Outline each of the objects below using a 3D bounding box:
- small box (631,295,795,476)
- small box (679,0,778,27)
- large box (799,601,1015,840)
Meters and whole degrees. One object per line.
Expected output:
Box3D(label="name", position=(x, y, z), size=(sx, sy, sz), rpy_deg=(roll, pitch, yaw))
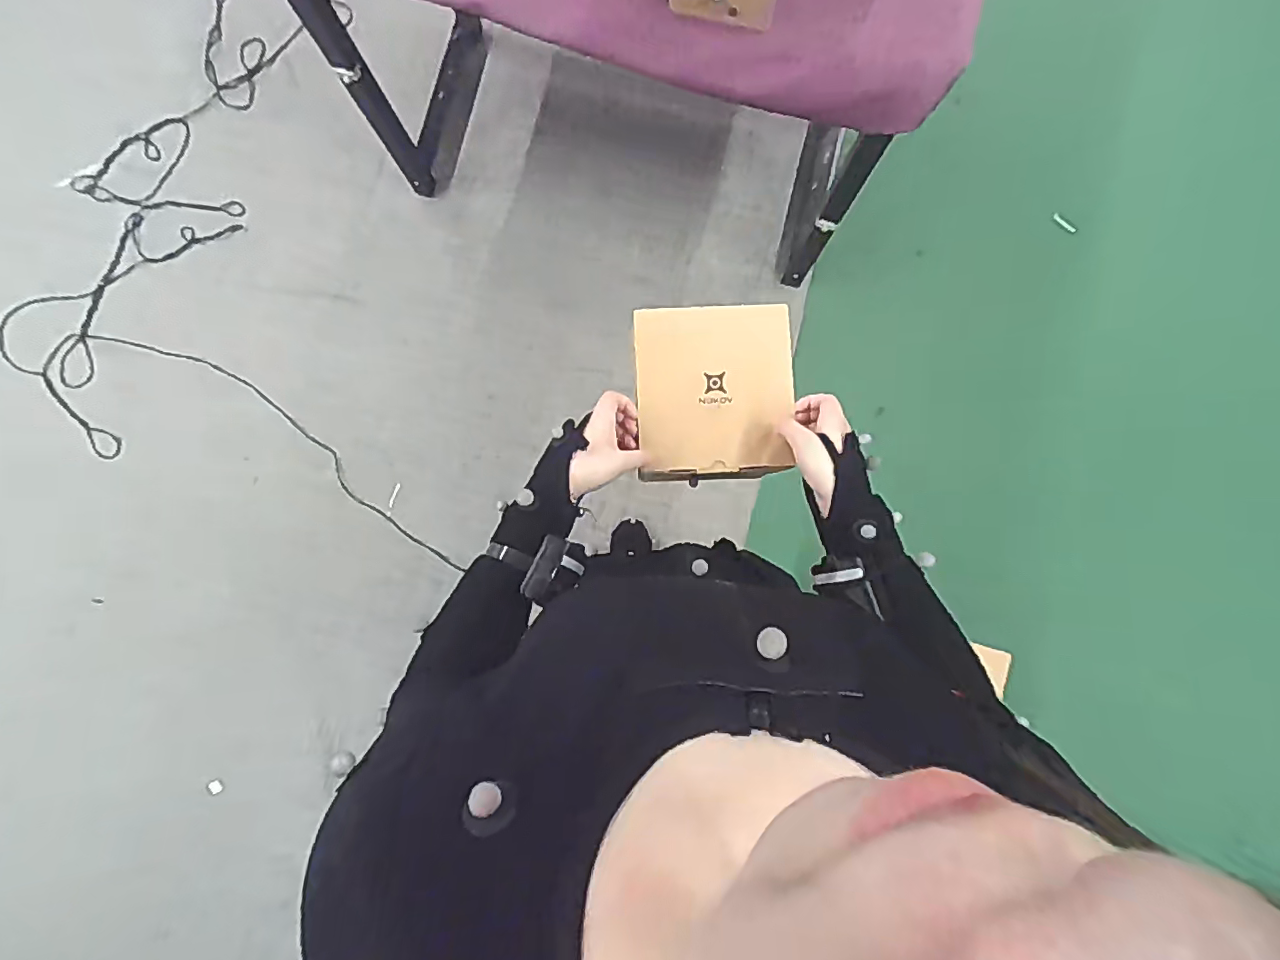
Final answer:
Box3D(label="small box", position=(0.073, -0.098, 0.631), size=(0.168, 0.176, 0.179), rpy_deg=(-2, 88, 0))
Box3D(label="small box", position=(0.150, -0.824, 0.785), size=(0.168, 0.176, 0.179), rpy_deg=(15, 85, 2))
Box3D(label="large box", position=(0.618, 0.543, 1.307), size=(0.320, 0.320, 0.408), rpy_deg=(16, 85, 3))
